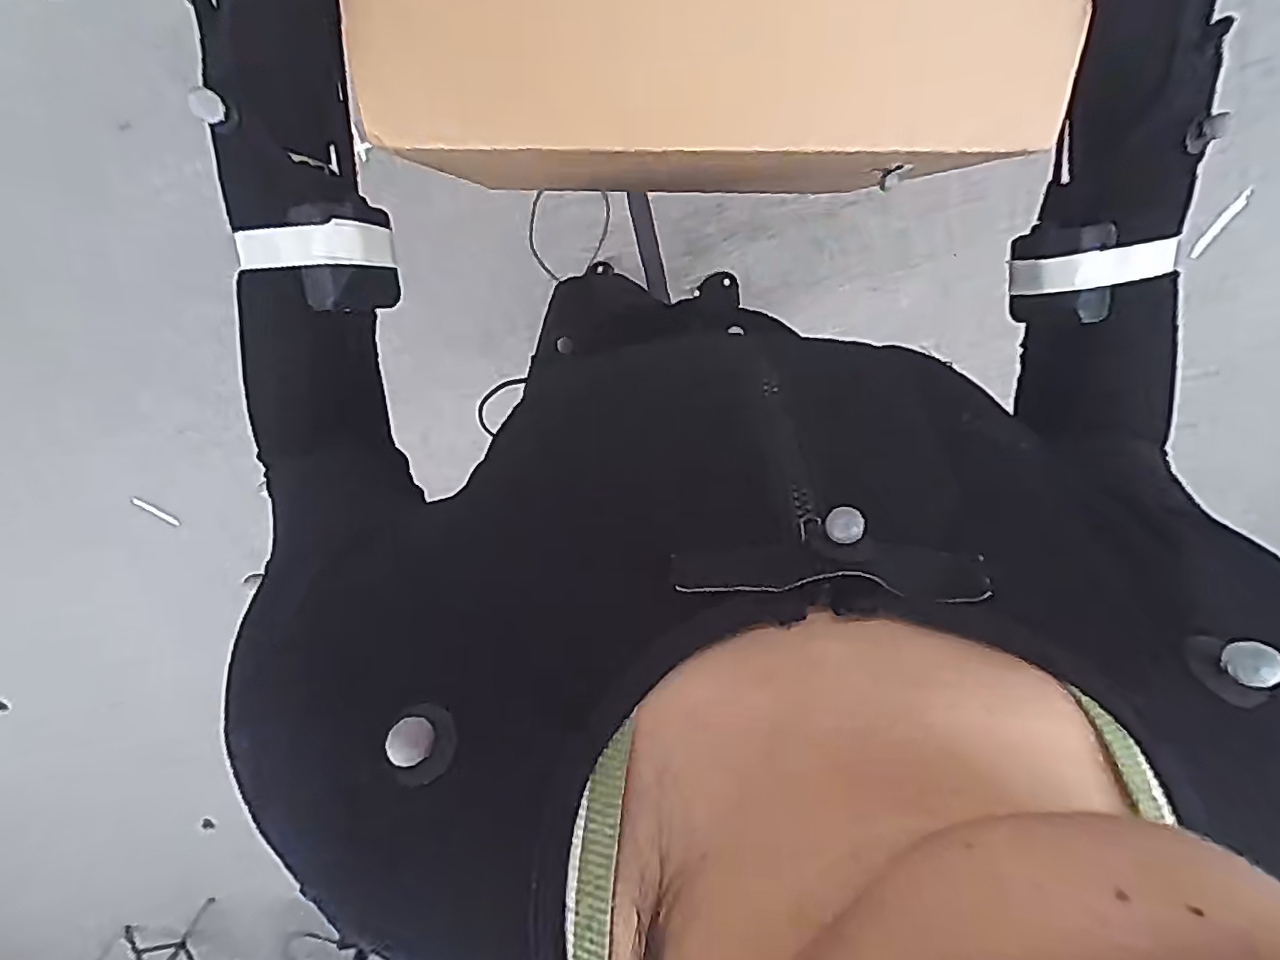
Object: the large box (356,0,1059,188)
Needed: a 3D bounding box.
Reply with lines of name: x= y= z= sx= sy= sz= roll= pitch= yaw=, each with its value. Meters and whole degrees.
large box: x=0.036 y=-0.403 z=0.403 sx=0.408 sy=0.320 sz=0.320 roll=-1 pitch=114 yaw=-2
